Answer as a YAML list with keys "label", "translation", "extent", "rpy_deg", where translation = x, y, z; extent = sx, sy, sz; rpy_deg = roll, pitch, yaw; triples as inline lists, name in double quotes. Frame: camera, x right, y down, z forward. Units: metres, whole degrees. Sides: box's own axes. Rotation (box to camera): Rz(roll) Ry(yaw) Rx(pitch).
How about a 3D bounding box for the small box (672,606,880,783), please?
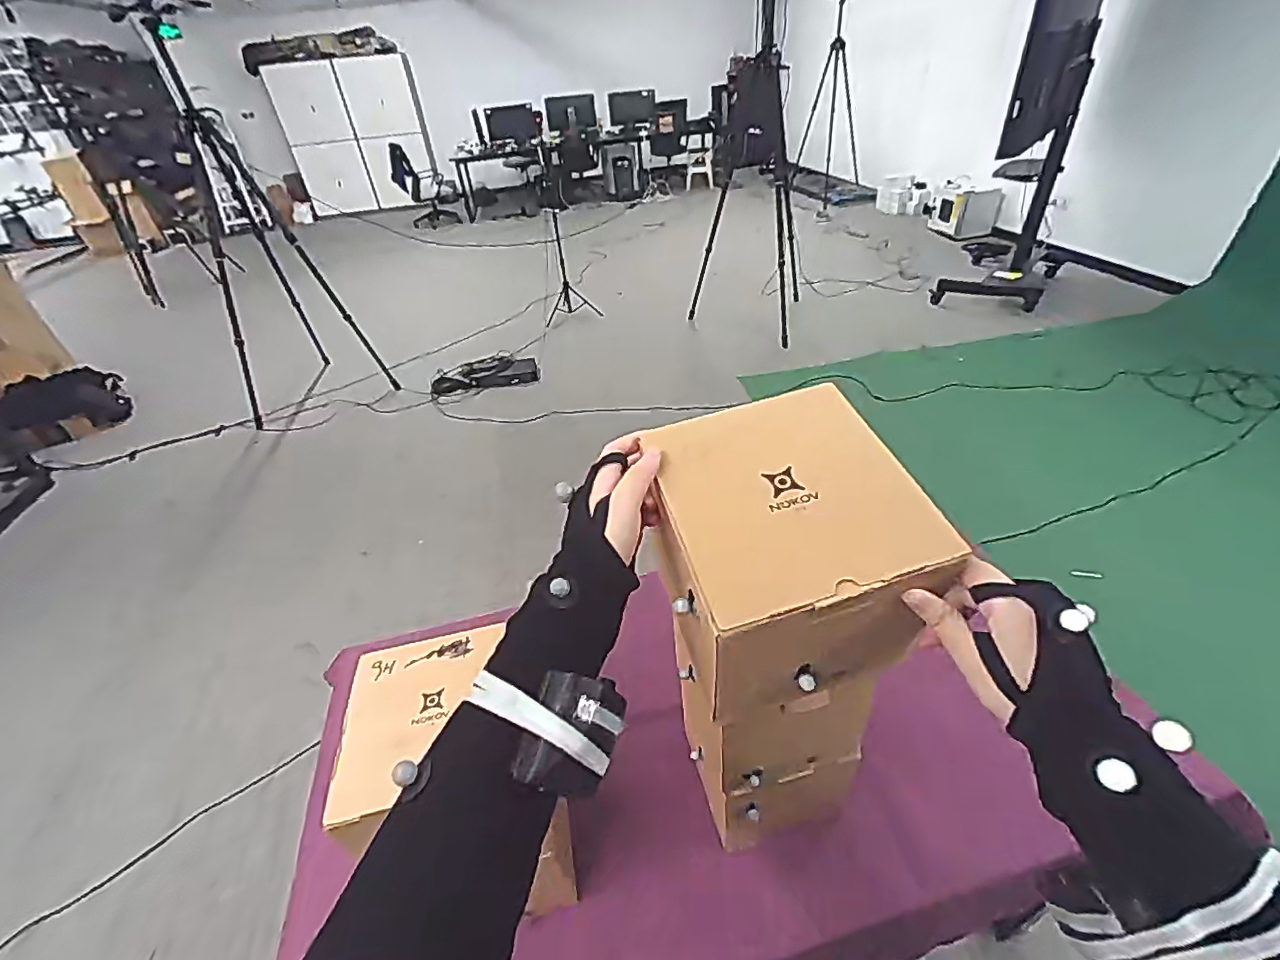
- label: "small box"
  translation: [0.142, 0.216, 0.619]
  extent: [0.168, 0.176, 0.179]
  rpy_deg: [-13, 36, -8]

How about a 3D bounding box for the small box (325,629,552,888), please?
- label: "small box"
  translation: [-0.193, 0.293, 0.568]
  extent: [0.168, 0.176, 0.179]
  rpy_deg: [-12, 37, -7]

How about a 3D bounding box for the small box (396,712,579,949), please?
- label: "small box"
  translation: [-0.177, 0.426, 0.664]
  extent: [0.168, 0.176, 0.179]
  rpy_deg: [-12, 37, -7]

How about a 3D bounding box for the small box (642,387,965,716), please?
- label: "small box"
  translation: [0.106, 0.058, 0.435]
  extent: [0.168, 0.176, 0.179]
  rpy_deg: [-16, 50, -7]
